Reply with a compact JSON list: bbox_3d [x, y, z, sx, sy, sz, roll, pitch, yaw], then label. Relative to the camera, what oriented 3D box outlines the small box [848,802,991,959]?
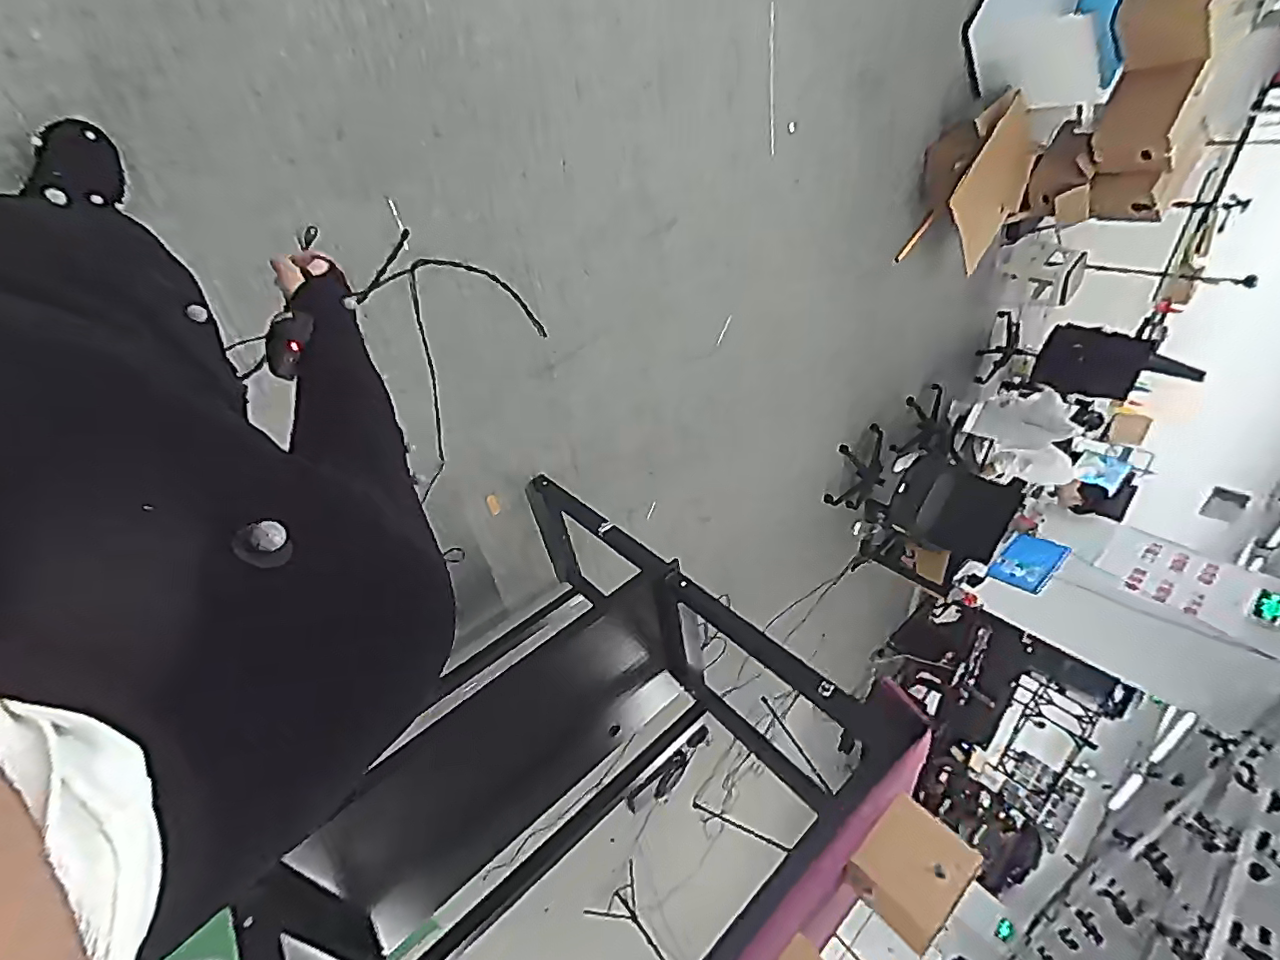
[{"bbox_3d":[0.526,0.764,1.032,0.179,0.176,0.168,-34,132,-24],"label":"small box"}]
